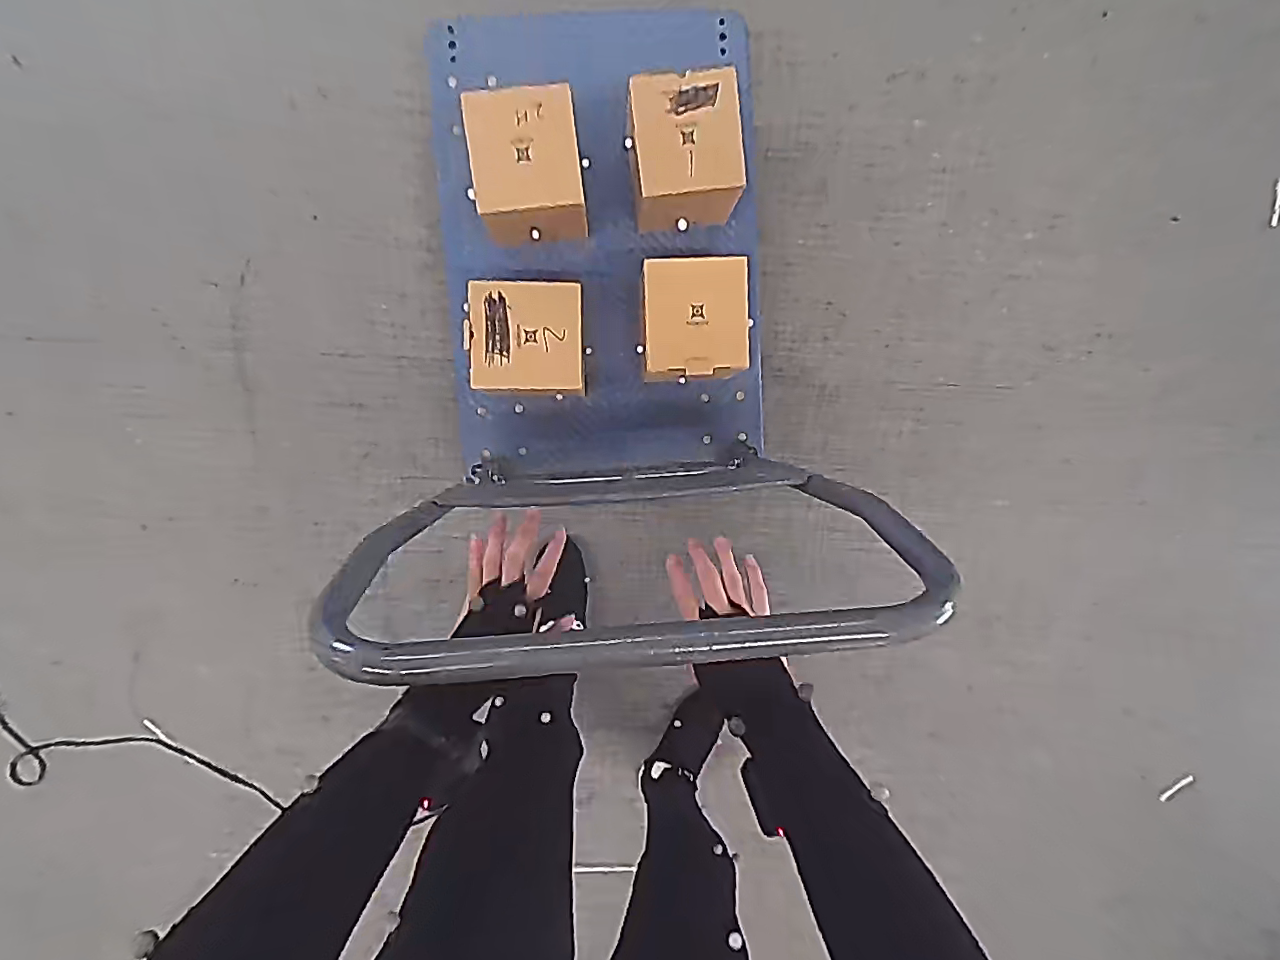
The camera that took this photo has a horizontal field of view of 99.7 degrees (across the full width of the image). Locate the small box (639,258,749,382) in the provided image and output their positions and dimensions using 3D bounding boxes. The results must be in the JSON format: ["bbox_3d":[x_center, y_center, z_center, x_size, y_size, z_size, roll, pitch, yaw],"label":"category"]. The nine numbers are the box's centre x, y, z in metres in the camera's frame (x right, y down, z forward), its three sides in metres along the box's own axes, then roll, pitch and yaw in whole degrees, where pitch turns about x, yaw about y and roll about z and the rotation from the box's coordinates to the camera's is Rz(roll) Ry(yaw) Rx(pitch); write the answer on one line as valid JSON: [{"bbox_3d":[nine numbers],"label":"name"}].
[{"bbox_3d":[0.086,-0.267,0.931,0.168,0.176,0.179,-2,96,-3],"label":"small box"}]

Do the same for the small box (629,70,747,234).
[{"bbox_3d":[0.072,-0.535,0.902,0.168,0.176,0.179,-7,97,-2],"label":"small box"}]

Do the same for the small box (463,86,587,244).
[{"bbox_3d":[-0.179,-0.503,0.892,0.168,0.176,0.179,-7,96,-3],"label":"small box"}]
